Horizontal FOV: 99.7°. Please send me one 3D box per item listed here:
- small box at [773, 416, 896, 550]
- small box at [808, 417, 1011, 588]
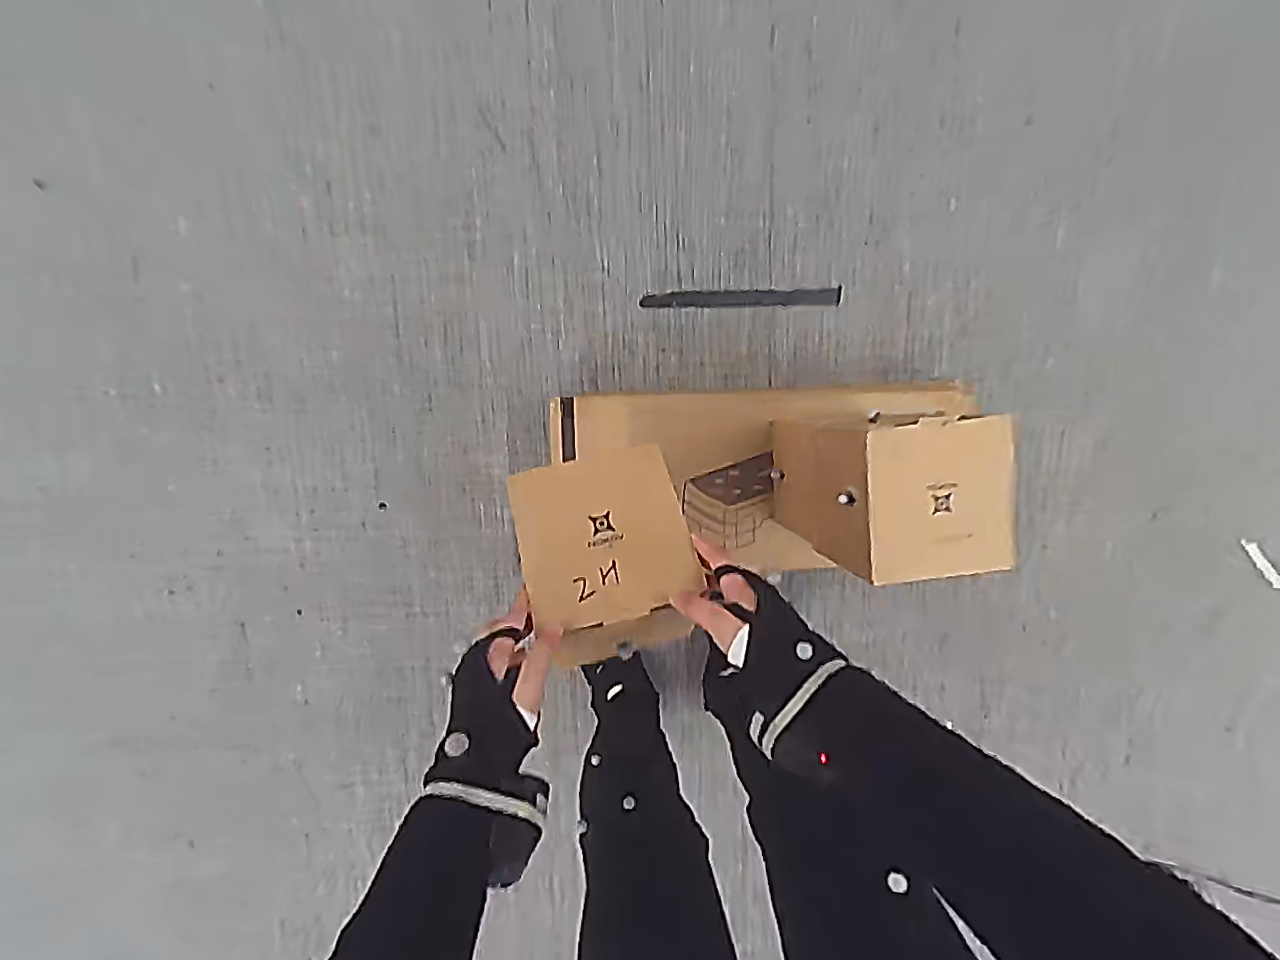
[{"bbox_3d":[0.311,-0.004,0.829,0.168,0.176,0.179,-4,98,-7],"label":"small box"},{"bbox_3d":[0.319,0.017,0.668,0.168,0.176,0.179,-6,98,-4],"label":"small box"}]
